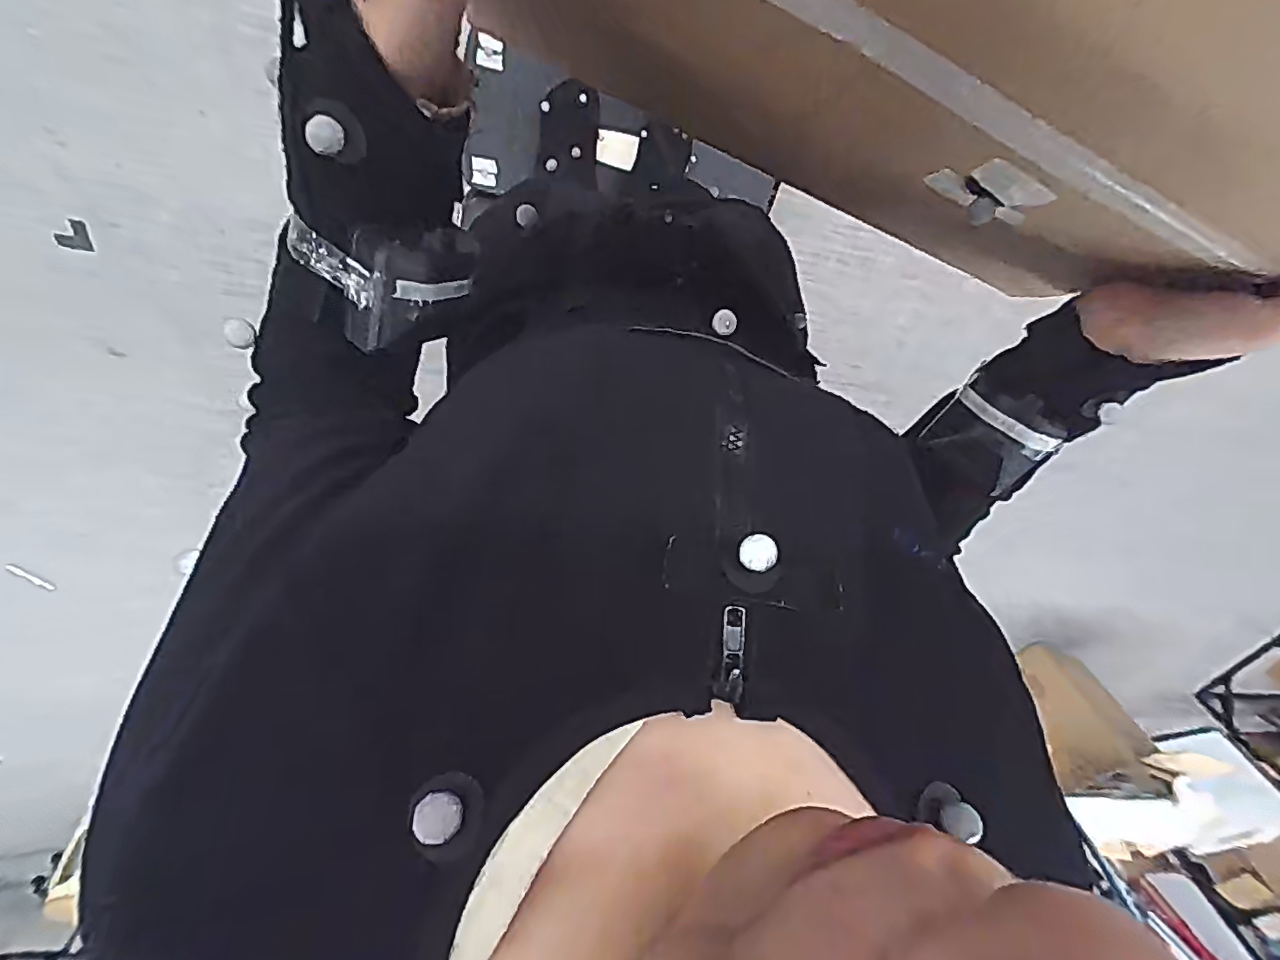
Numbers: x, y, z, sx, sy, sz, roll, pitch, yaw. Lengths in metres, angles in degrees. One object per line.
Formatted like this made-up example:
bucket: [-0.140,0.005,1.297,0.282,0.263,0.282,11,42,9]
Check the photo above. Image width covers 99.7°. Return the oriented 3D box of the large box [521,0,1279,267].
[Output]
large box: [0.183,-0.300,0.150,0.408,0.320,0.320,16,102,-15]

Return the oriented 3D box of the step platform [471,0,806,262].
step platform: [-0.001,-0.709,1.149,0.684,0.204,0.286,11,125,-18]
